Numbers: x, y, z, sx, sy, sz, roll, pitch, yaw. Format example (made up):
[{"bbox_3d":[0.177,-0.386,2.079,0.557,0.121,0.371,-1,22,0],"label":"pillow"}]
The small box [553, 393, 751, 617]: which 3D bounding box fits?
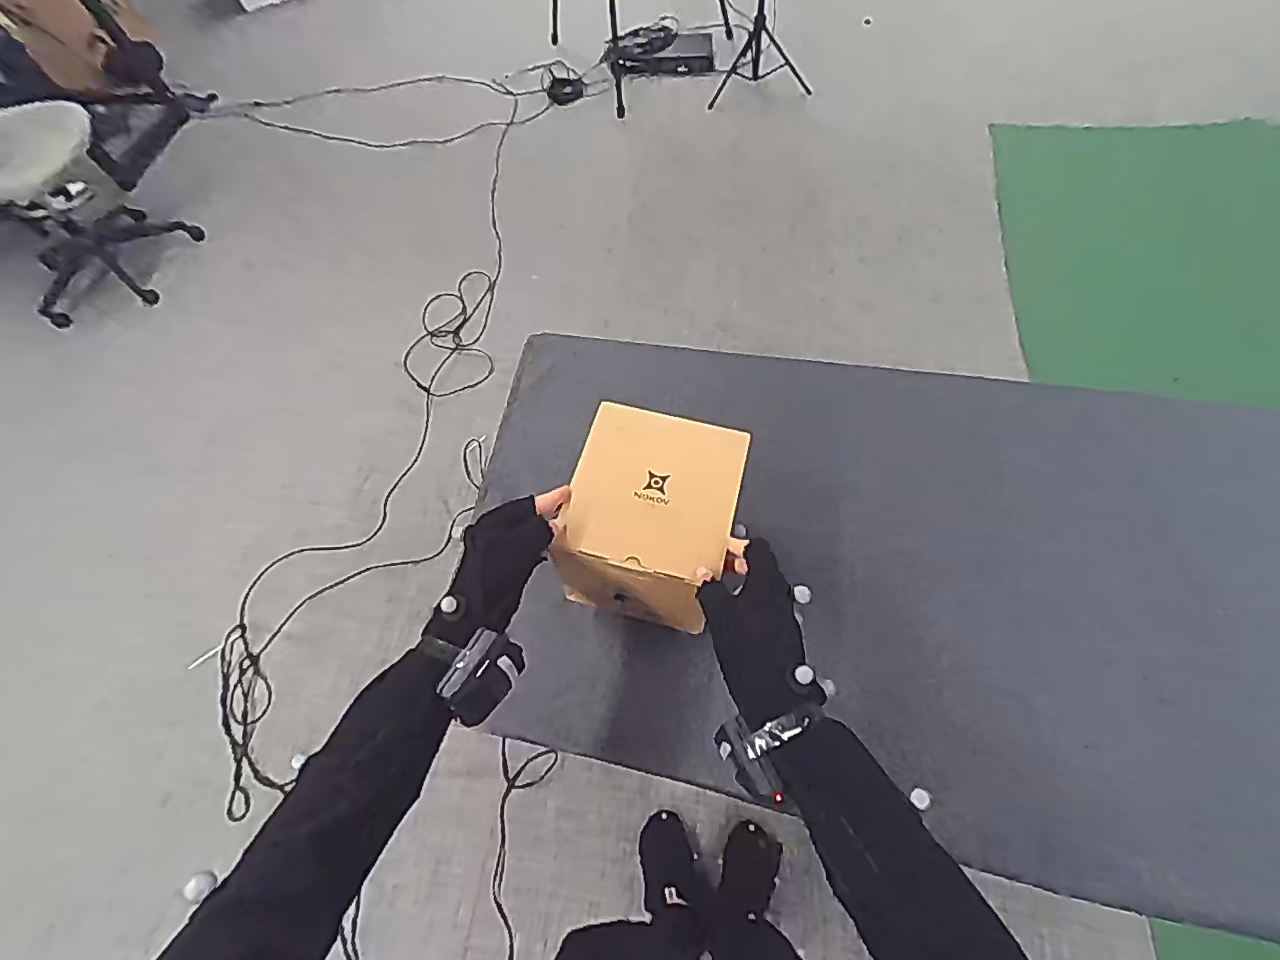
[{"bbox_3d":[0.016,0.034,0.608,0.168,0.176,0.179,13,64,7],"label":"small box"}]
